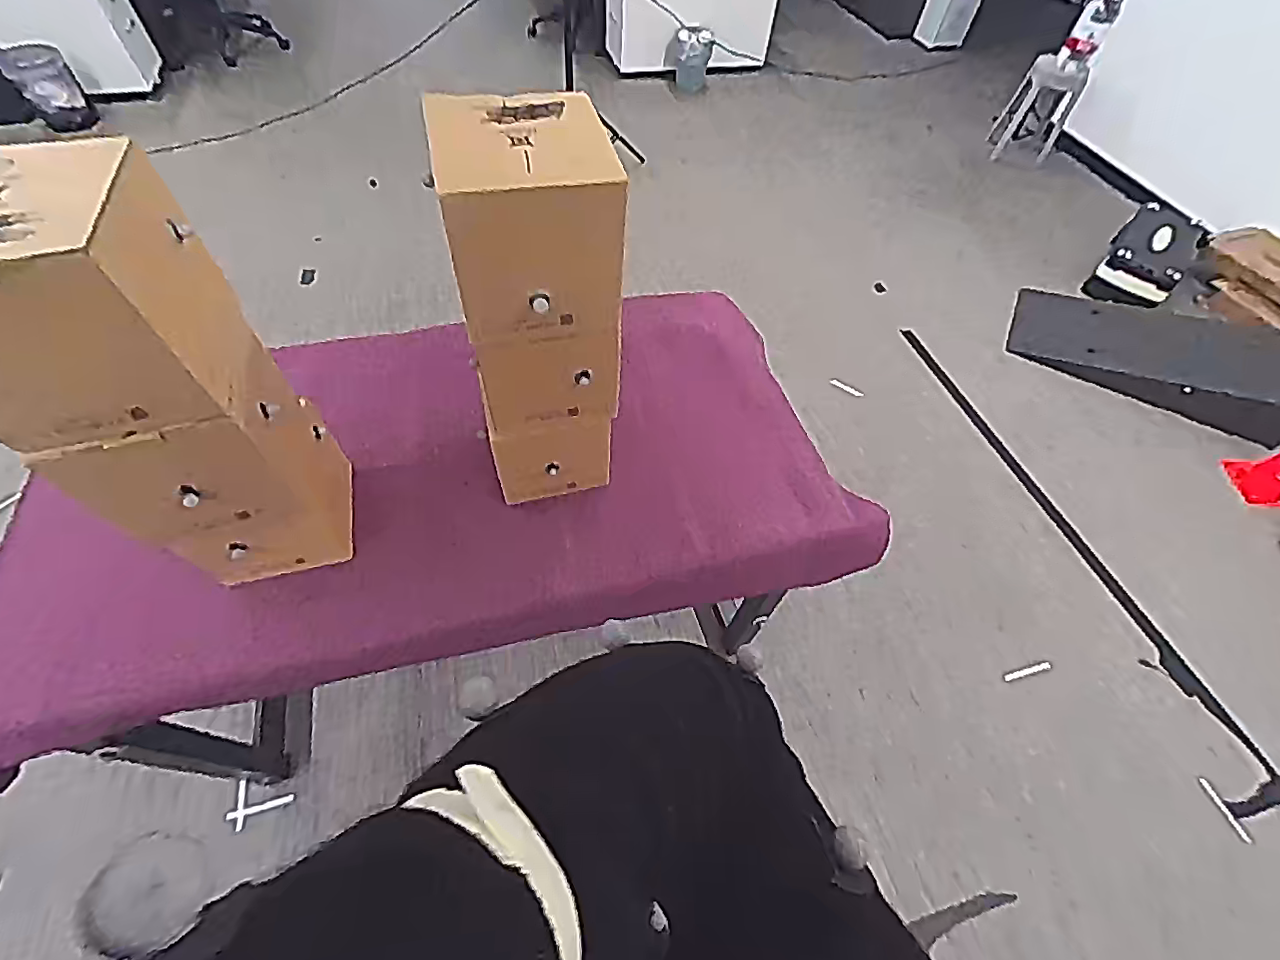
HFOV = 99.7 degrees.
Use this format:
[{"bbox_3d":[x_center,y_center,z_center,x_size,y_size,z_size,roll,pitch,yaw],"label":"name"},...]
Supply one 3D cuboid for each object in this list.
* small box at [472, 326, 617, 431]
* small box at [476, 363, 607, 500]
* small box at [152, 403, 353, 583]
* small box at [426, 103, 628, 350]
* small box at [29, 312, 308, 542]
[{"bbox_3d":[-0.128,-0.180,0.710,0.168,0.176,0.179,-10,57,-12],"label":"small box"},{"bbox_3d":[-0.148,-0.084,0.840,0.168,0.176,0.179,-11,57,-12],"label":"small box"},{"bbox_3d":[-0.510,0.026,0.741,0.168,0.176,0.179,-12,57,-12],"label":"small box"},{"bbox_3d":[-0.117,-0.264,0.569,0.168,0.176,0.179,-11,59,-12],"label":"small box"},{"bbox_3d":[-0.490,-0.049,0.595,0.168,0.176,0.179,-16,59,-15],"label":"small box"}]
